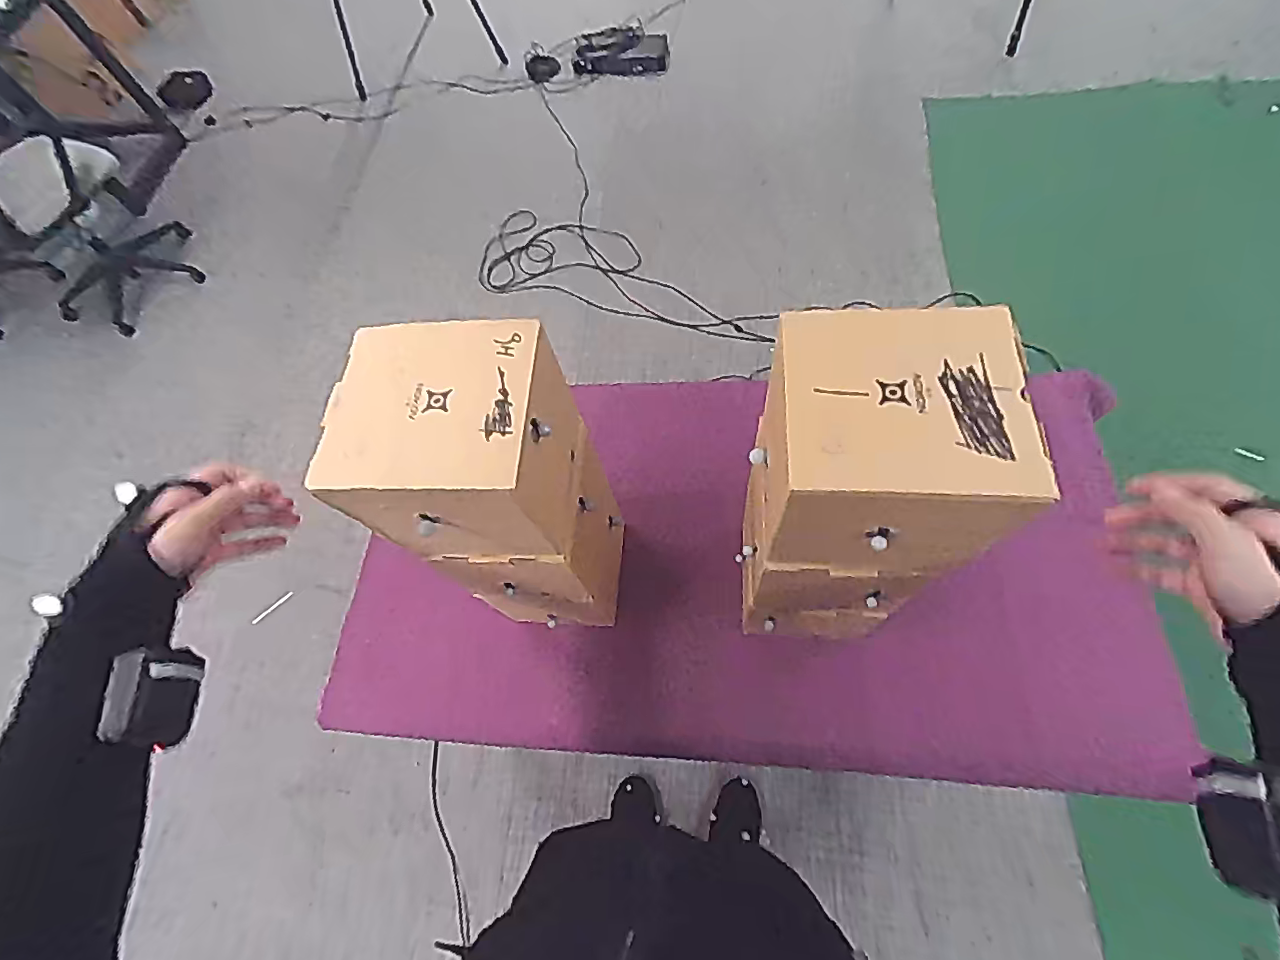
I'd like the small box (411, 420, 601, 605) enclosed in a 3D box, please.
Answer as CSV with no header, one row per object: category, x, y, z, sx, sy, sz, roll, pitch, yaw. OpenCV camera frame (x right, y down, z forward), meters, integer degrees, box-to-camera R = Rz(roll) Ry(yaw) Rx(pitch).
small box,-0.145,0.042,0.657,0.168,0.176,0.179,1,64,7

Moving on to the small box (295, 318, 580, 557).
small box,-0.167,-0.032,0.512,0.179,0.176,0.168,1,64,7

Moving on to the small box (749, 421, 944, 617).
small box,0.213,0.051,0.608,0.168,0.176,0.179,1,63,7

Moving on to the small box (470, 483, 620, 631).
small box,-0.126,0.115,0.802,0.168,0.176,0.179,1,64,8

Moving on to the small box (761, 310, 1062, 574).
small box,0.201,-0.023,0.462,0.179,0.176,0.168,2,64,8
